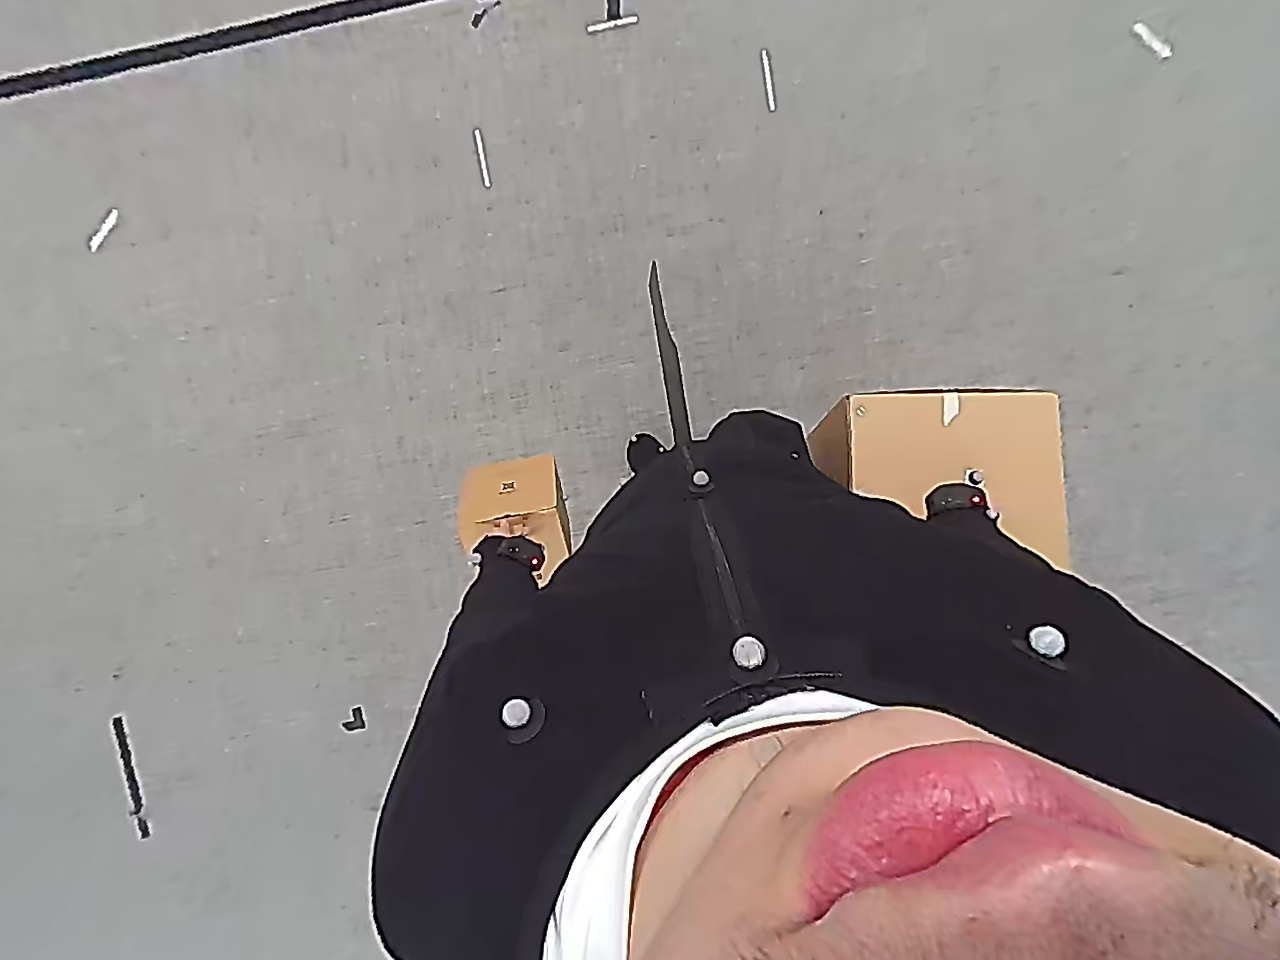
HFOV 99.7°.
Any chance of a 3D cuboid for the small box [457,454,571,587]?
[{"bbox_3d":[-0.223,0.078,0.993,0.168,0.179,0.176,-10,125,-5],"label":"small box"}]
